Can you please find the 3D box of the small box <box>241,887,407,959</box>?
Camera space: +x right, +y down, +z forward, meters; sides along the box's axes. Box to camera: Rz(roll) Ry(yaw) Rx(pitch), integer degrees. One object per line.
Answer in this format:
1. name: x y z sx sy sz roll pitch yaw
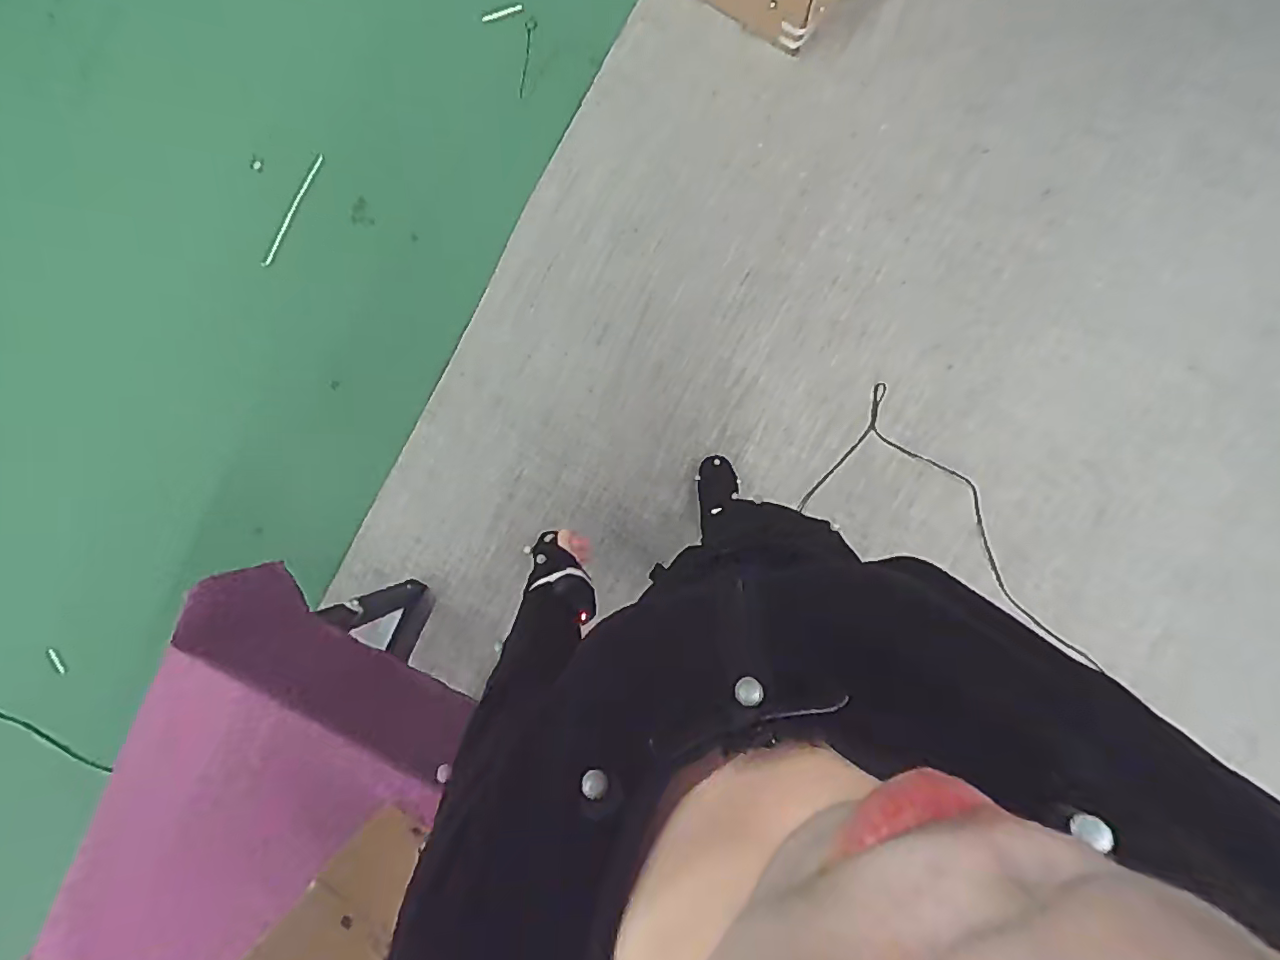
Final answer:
1. small box: -0.372 0.591 0.566 0.168 0.176 0.179 31 94 6
